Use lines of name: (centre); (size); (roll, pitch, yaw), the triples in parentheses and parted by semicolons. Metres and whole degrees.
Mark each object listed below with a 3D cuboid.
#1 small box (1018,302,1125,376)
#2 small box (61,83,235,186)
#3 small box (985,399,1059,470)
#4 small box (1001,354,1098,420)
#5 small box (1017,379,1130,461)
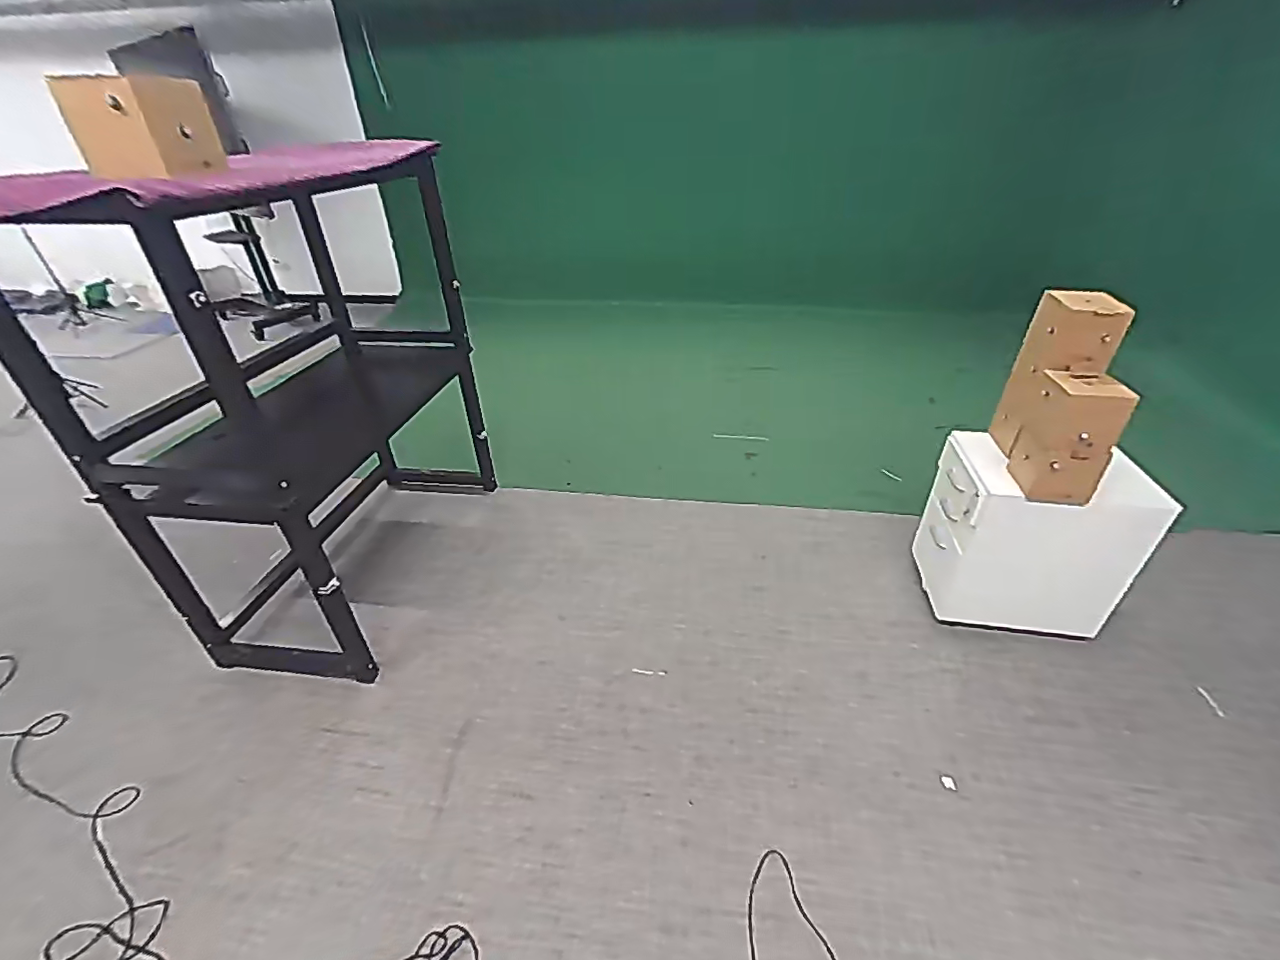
small box: (1.281, -0.422, 1.620); (0.168, 0.176, 0.179); (6, 35, 7)
small box: (-0.997, -0.711, 1.118); (0.179, 0.176, 0.168); (3, 32, 6)
small box: (1.288, -0.153, 1.804); (0.168, 0.176, 0.179); (4, 35, 8)
small box: (1.284, -0.289, 1.713); (0.168, 0.176, 0.179); (6, 36, 9)
small box: (1.212, -0.172, 1.532); (0.168, 0.176, 0.179); (5, 33, 9)
